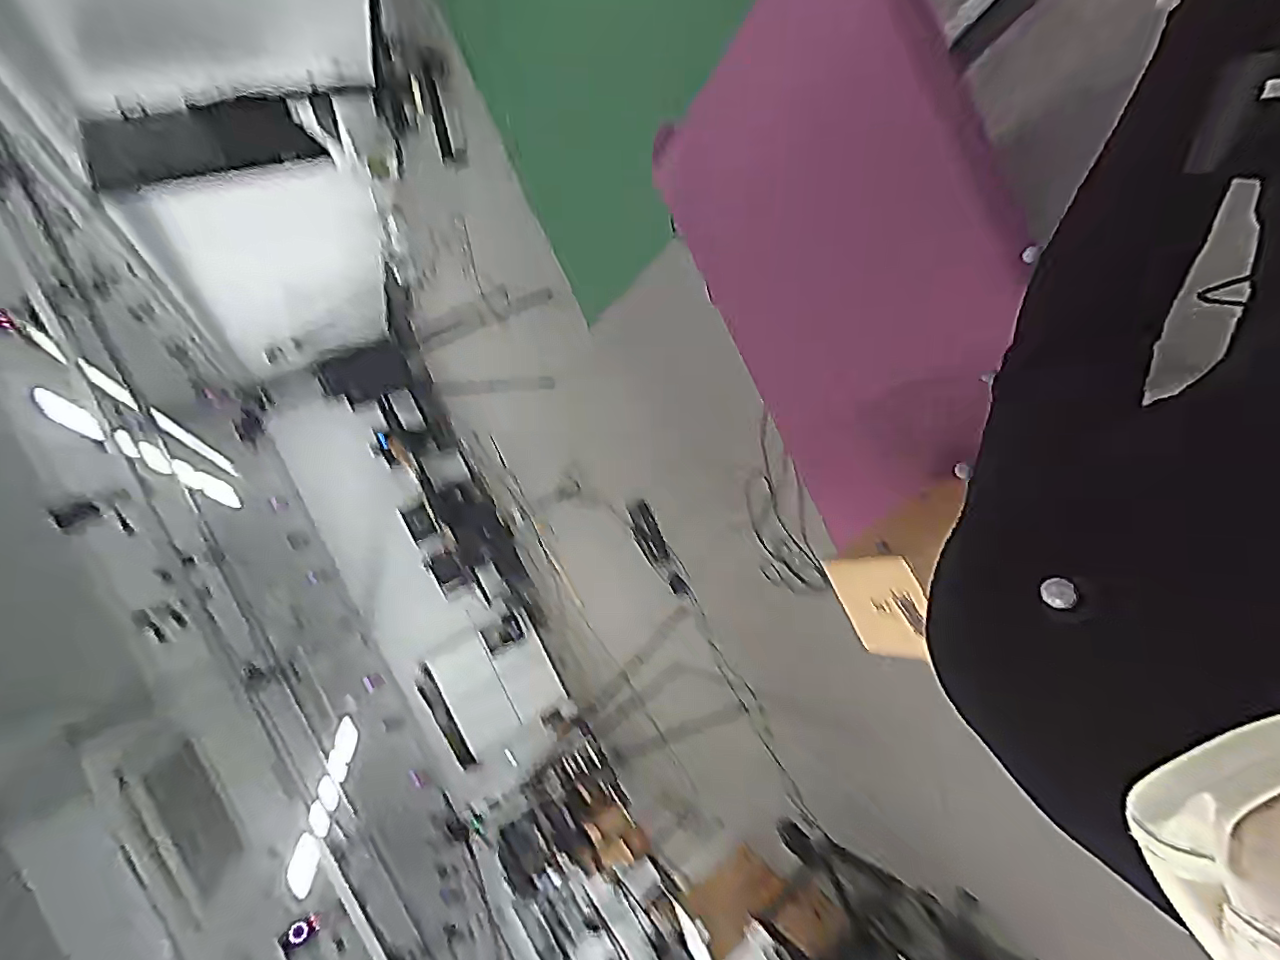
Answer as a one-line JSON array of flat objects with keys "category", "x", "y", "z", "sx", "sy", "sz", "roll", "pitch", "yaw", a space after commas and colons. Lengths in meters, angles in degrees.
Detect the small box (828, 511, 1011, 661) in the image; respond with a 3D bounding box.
[{"category": "small box", "x": 0.446, "y": 0.163, "z": 0.860, "sx": 0.168, "sy": 0.176, "sz": 0.179, "roll": 62, "pitch": 156, "yaw": 0}]
